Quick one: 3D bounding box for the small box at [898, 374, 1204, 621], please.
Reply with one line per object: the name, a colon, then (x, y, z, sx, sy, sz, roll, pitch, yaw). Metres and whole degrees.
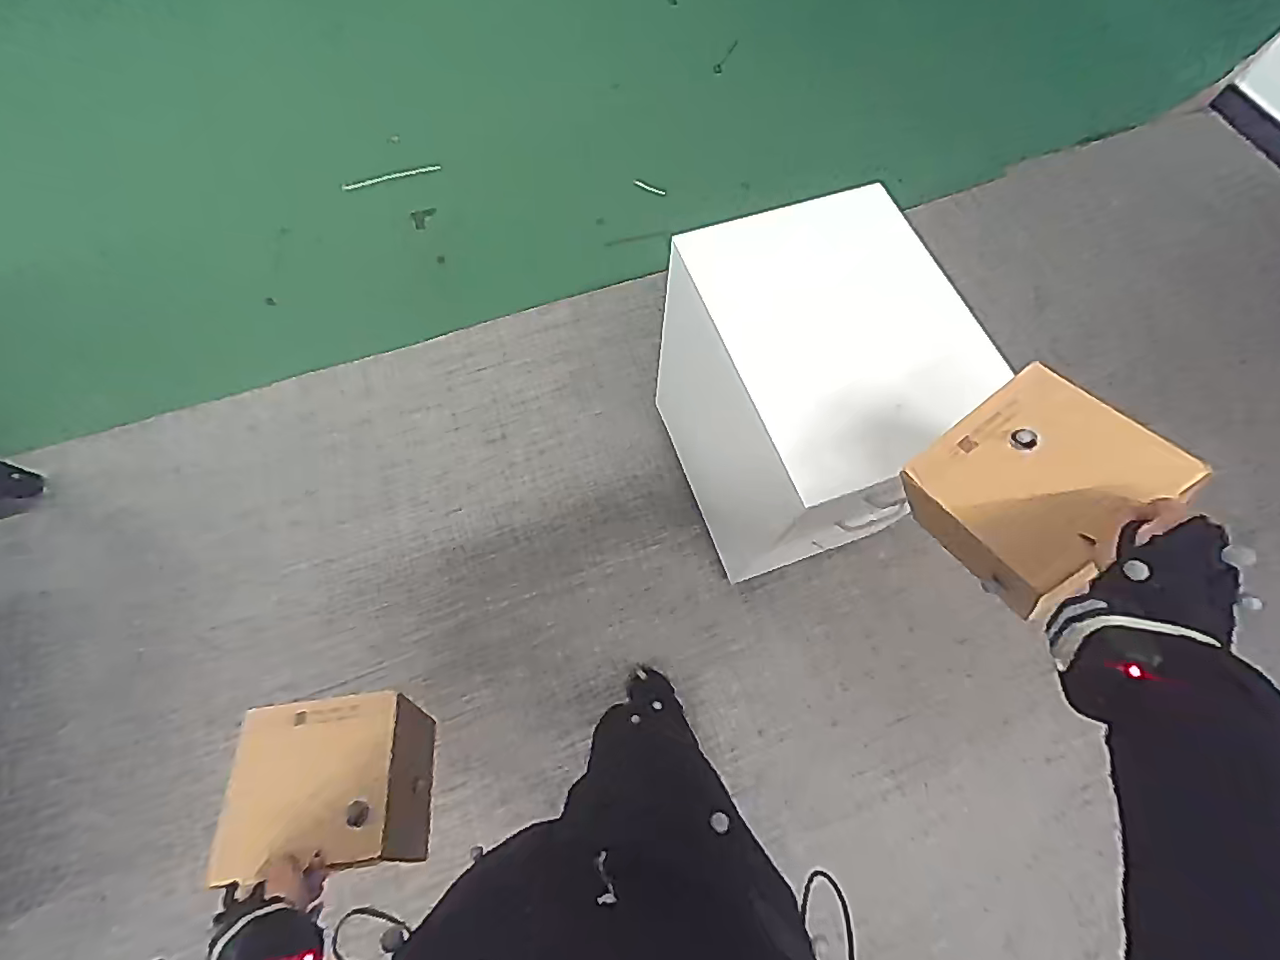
small box: (0.400, 0.021, 0.564, 0.168, 0.179, 0.176, -42, 54, 10)
